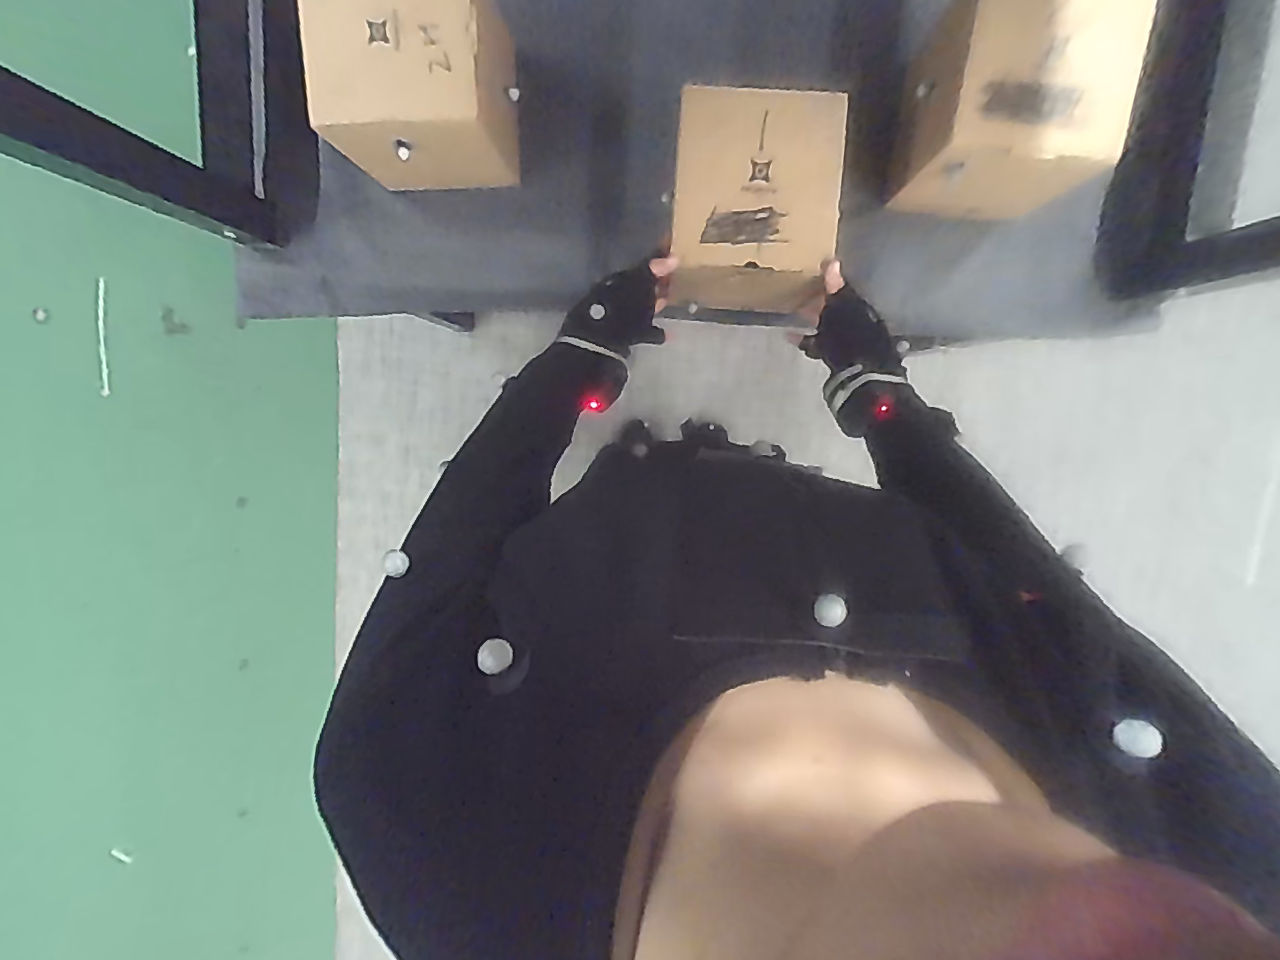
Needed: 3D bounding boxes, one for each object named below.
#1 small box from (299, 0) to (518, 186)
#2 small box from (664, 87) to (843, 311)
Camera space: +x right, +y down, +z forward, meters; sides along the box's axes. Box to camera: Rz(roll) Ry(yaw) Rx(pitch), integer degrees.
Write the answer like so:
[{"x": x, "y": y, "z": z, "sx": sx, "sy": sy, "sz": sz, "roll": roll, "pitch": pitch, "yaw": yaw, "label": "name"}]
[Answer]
[{"x": -0.248, "y": -0.452, "z": 0.616, "sx": 0.179, "sy": 0.176, "sz": 0.168, "roll": 0, "pitch": 98, "yaw": 1, "label": "small box"}, {"x": 0.116, "y": -0.303, "z": 0.620, "sx": 0.168, "sy": 0.176, "sz": 0.179, "roll": 4, "pitch": 93, "yaw": 1, "label": "small box"}]
